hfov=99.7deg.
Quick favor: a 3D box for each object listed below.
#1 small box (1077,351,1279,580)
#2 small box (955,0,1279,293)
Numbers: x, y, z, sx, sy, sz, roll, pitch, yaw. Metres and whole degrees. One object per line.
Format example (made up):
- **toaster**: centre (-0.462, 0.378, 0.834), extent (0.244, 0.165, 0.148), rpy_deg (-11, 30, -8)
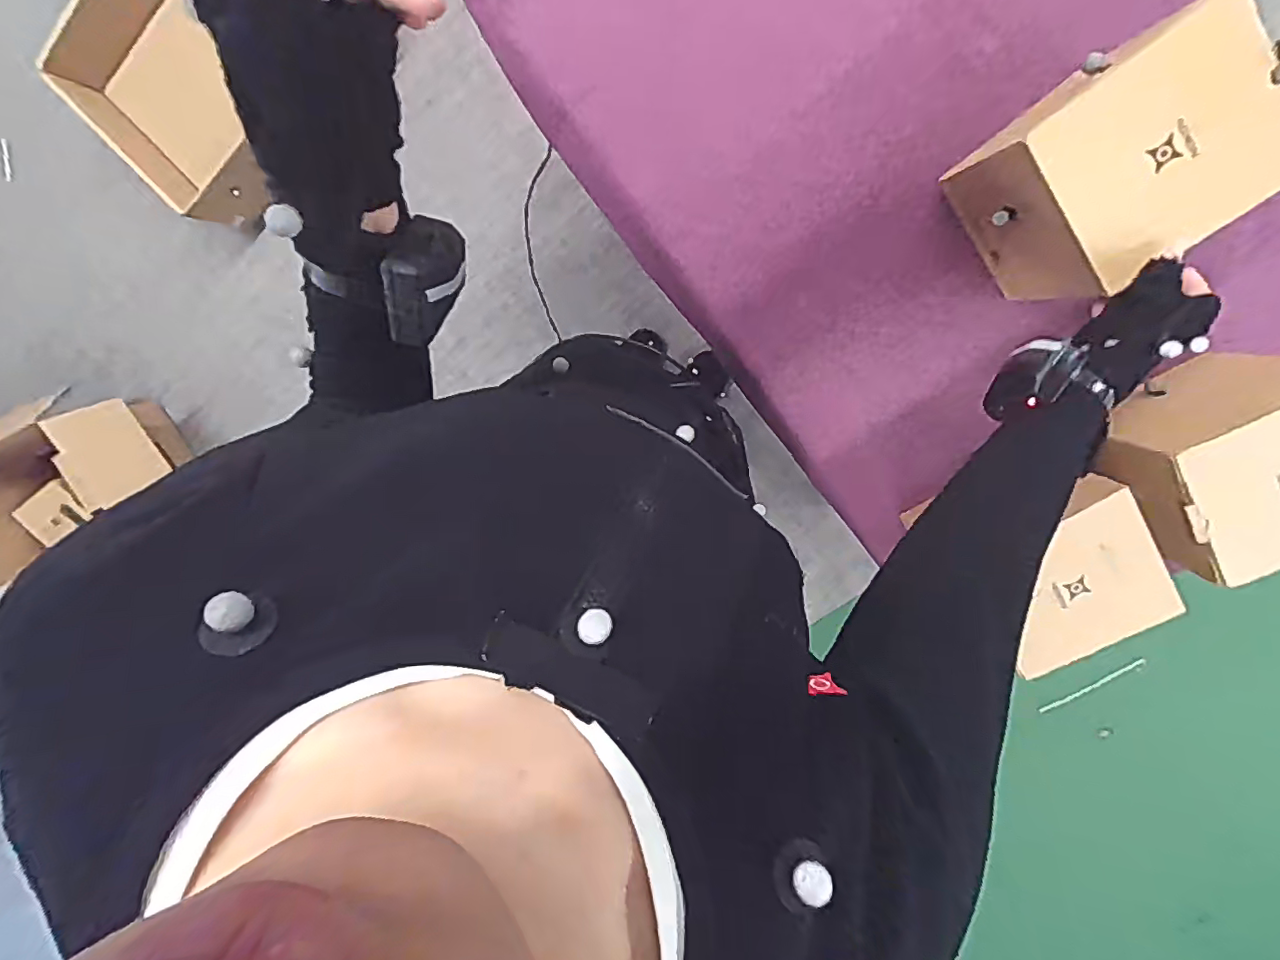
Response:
- **small box**: centre (0.633, -0.025, 0.594), extent (0.179, 0.176, 0.168), rpy_deg (-29, 103, 12)
- **small box**: centre (0.446, -0.301, 0.527), extent (0.179, 0.176, 0.168), rpy_deg (-36, 101, 13)
